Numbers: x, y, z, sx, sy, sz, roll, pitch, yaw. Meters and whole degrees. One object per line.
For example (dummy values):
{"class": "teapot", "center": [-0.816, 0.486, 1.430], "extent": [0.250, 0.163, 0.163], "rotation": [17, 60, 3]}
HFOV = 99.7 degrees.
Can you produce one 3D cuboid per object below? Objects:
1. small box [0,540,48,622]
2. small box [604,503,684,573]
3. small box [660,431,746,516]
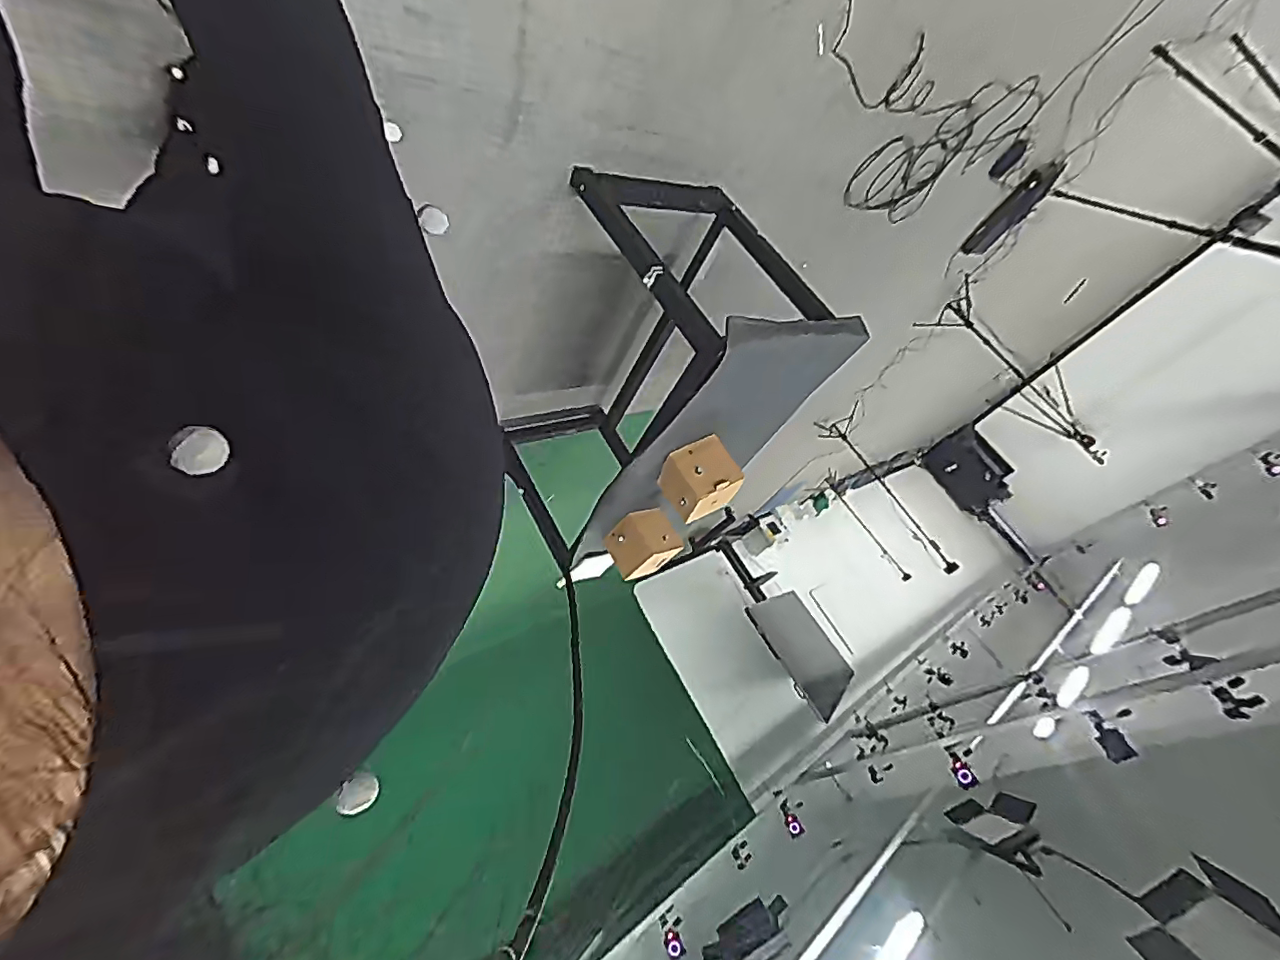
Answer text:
{"class": "small box", "center": [-1.764, 0.277, 1.485], "extent": [0.168, 0.176, 0.179], "rotation": [-7, 148, -46]}
{"class": "small box", "center": [0.013, 0.190, 1.850], "extent": [0.179, 0.176, 0.168], "rotation": [-6, 147, -50]}
{"class": "small box", "center": [0.177, -0.028, 1.596], "extent": [0.168, 0.176, 0.179], "rotation": [-23, 159, -22]}
